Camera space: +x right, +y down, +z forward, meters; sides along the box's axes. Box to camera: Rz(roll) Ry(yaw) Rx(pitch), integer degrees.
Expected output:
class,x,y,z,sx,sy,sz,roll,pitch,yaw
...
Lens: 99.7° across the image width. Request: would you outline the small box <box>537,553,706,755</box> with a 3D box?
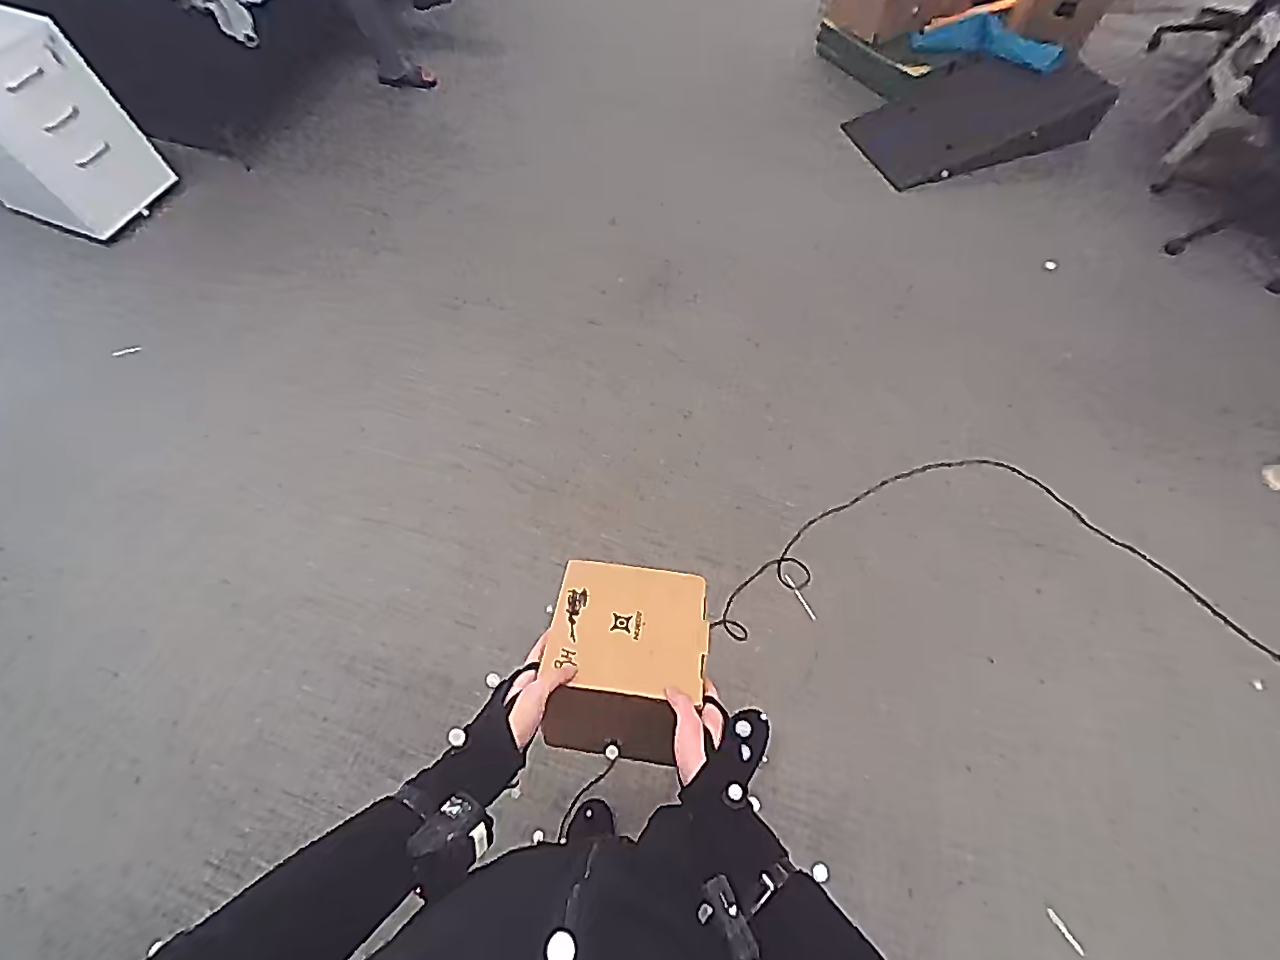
class,x,y,z,sx,sy,sz,roll,pitch,yaw
small box,-0.021,0.218,0.672,0.179,0.176,0.168,8,41,1
